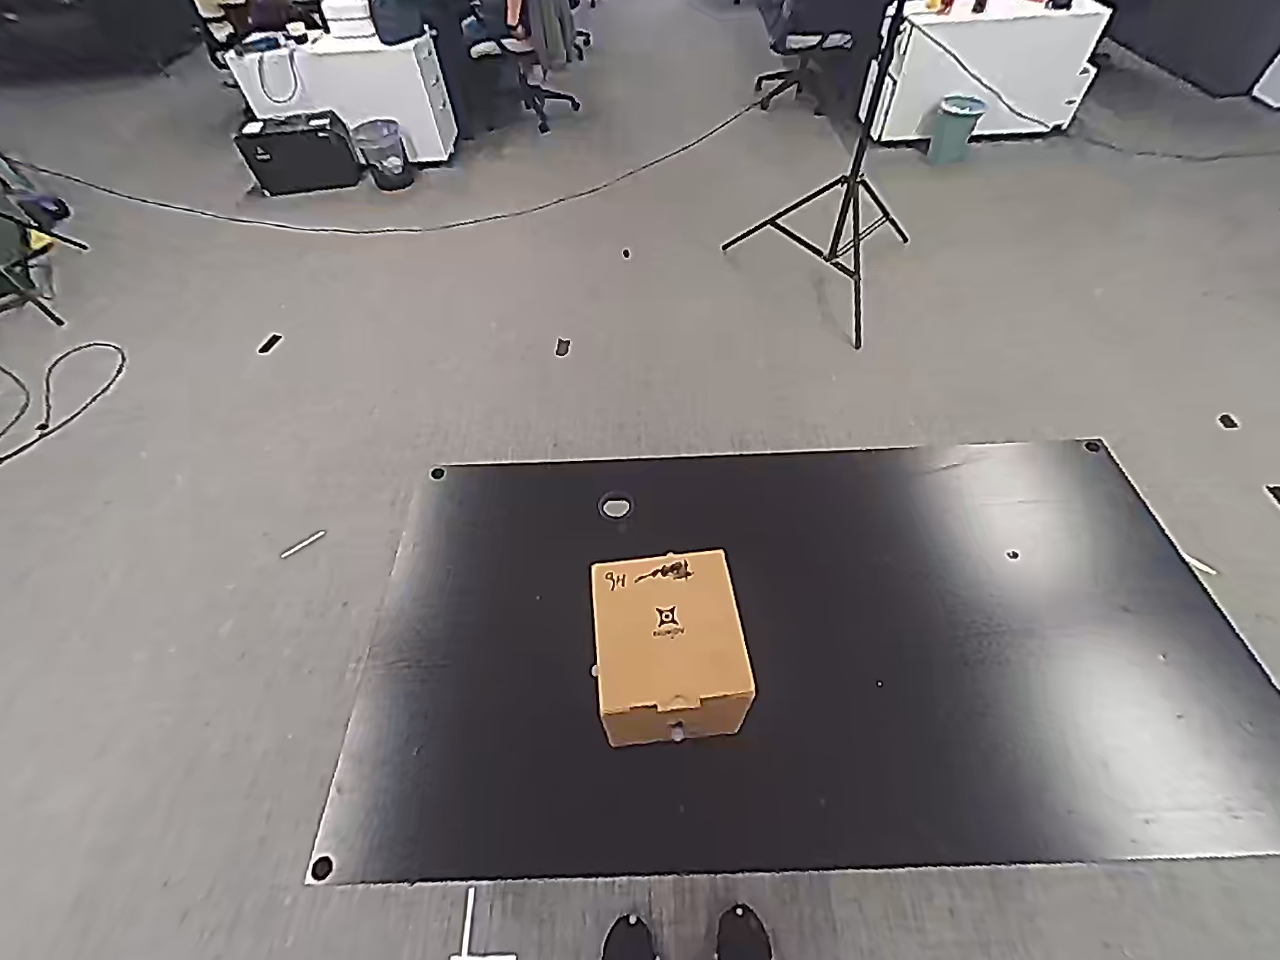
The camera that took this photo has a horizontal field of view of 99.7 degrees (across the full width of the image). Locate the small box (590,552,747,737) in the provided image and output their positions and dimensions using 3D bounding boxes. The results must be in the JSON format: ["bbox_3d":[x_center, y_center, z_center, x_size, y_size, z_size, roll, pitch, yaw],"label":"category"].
[{"bbox_3d":[0.031,0.213,0.682,0.168,0.176,0.179,-6,53,-2],"label":"small box"}]
